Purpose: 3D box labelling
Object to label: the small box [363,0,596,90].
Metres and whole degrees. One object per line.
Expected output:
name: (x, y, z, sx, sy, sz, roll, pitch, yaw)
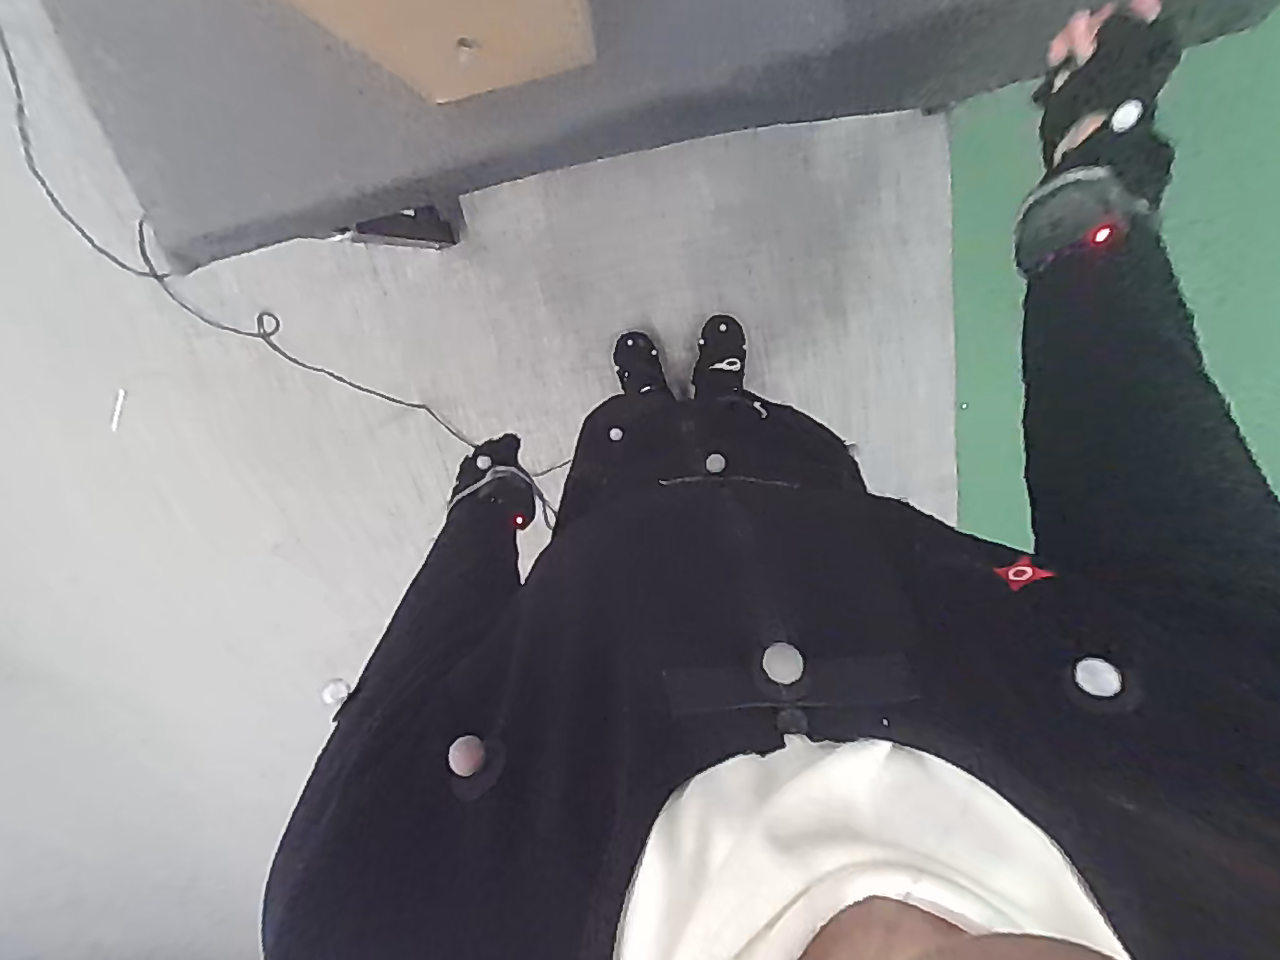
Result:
small box: (-0.148, -0.465, 0.456, 0.179, 0.176, 0.168, -8, 108, 8)
